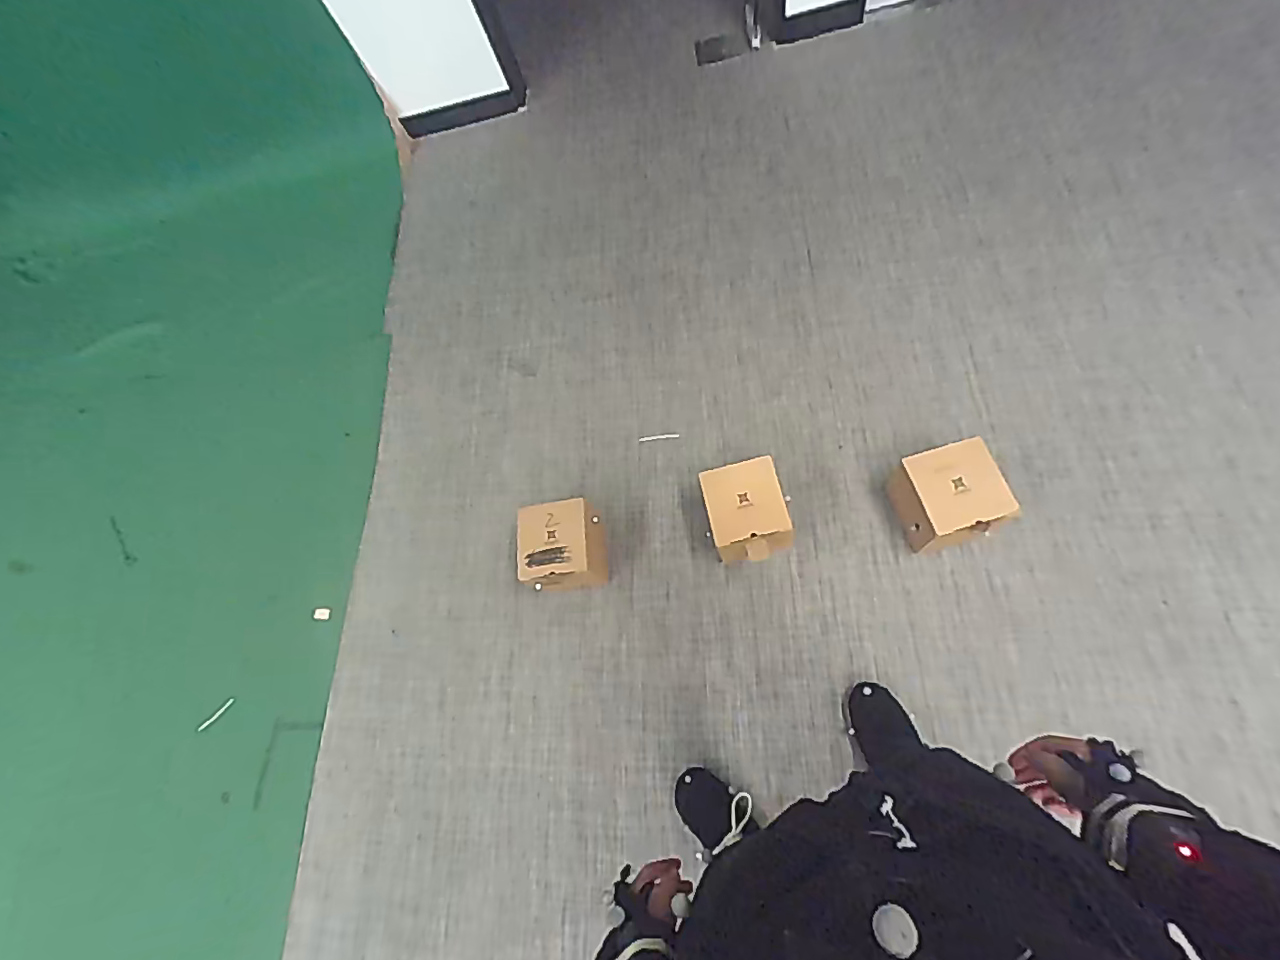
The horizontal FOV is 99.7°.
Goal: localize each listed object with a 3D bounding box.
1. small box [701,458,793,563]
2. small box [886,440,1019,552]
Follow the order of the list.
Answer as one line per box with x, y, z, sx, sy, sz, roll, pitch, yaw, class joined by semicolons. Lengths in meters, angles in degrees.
0.242;0.075;1.237;0.168;0.176;0.179;-15;68;7;small box
0.652;0.045;1.154;0.168;0.176;0.179;-17;66;5;small box
